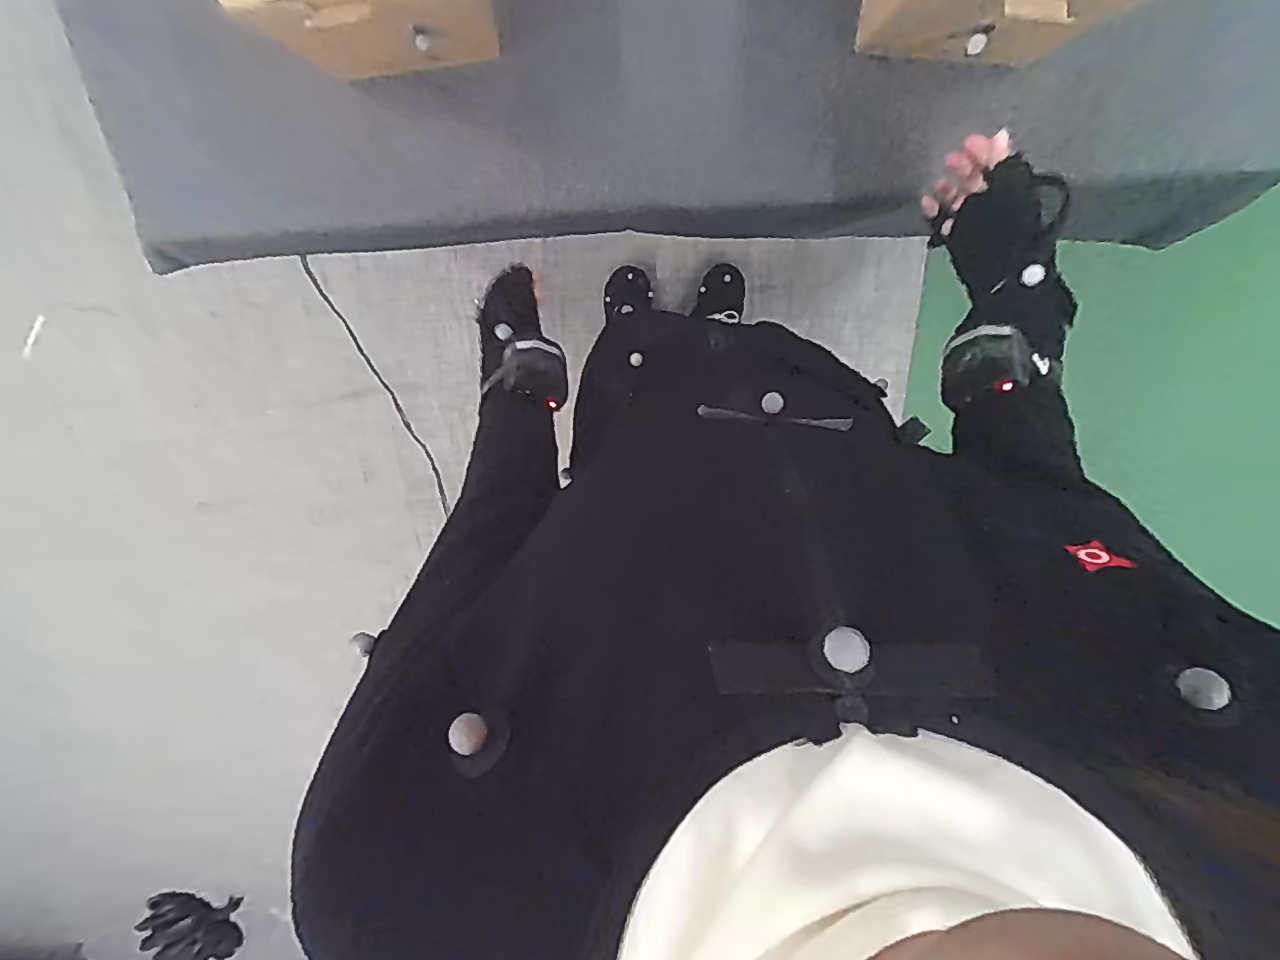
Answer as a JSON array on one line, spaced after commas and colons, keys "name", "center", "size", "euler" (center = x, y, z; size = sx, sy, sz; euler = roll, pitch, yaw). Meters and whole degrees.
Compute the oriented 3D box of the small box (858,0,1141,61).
[{"name": "small box", "center": [0.286, -0.454, 0.419], "size": [0.168, 0.176, 0.179], "euler": [4, 114, 1]}]
